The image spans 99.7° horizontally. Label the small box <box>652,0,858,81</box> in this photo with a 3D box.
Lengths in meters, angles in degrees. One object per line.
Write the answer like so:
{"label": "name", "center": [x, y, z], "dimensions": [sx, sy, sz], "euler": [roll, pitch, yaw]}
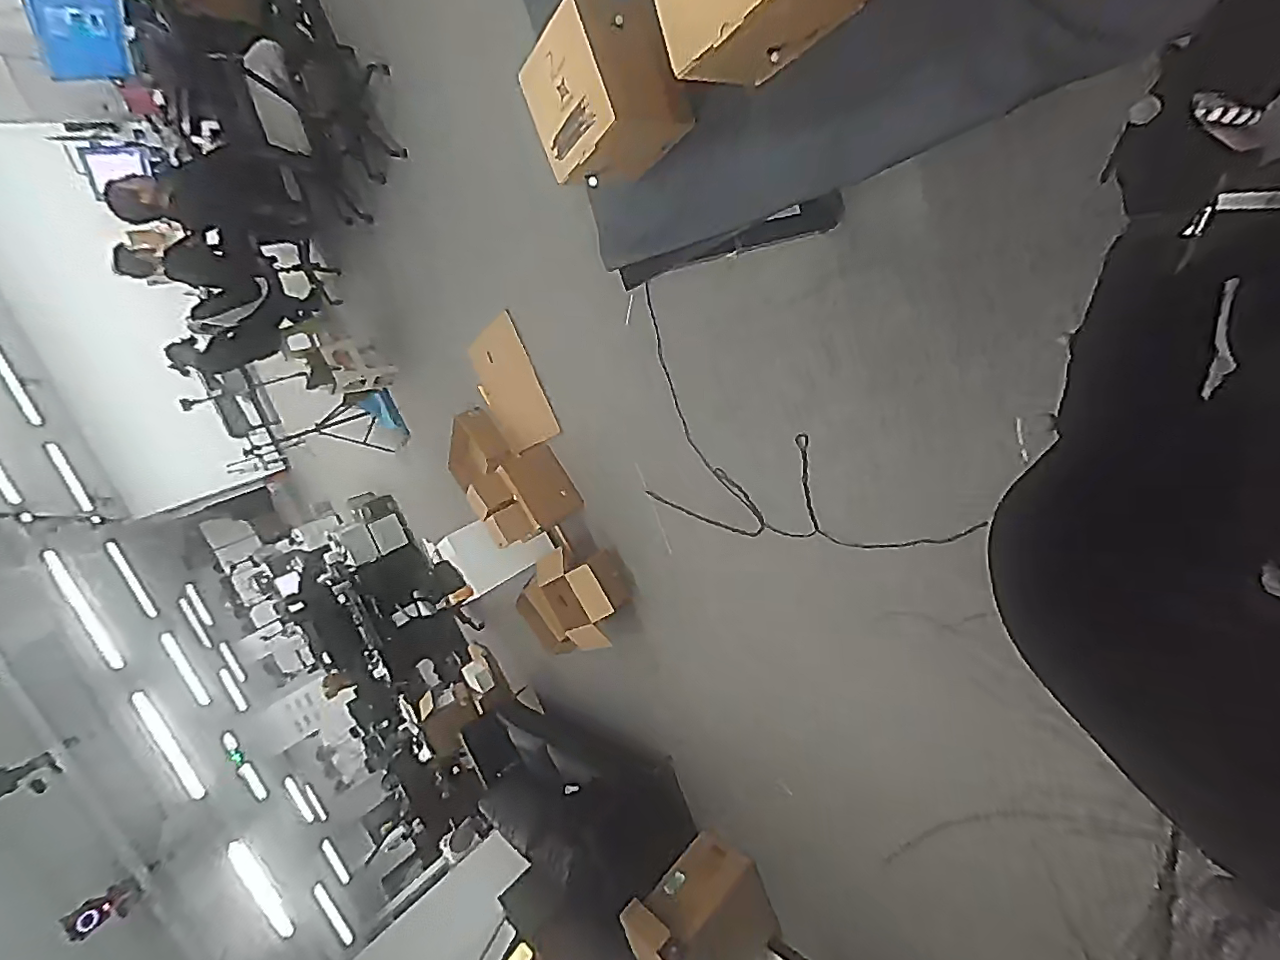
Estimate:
{"label": "small box", "center": [0.124, -0.596, 0.619], "dimensions": [0.168, 0.176, 0.179], "euler": [-4, 111, 50]}
